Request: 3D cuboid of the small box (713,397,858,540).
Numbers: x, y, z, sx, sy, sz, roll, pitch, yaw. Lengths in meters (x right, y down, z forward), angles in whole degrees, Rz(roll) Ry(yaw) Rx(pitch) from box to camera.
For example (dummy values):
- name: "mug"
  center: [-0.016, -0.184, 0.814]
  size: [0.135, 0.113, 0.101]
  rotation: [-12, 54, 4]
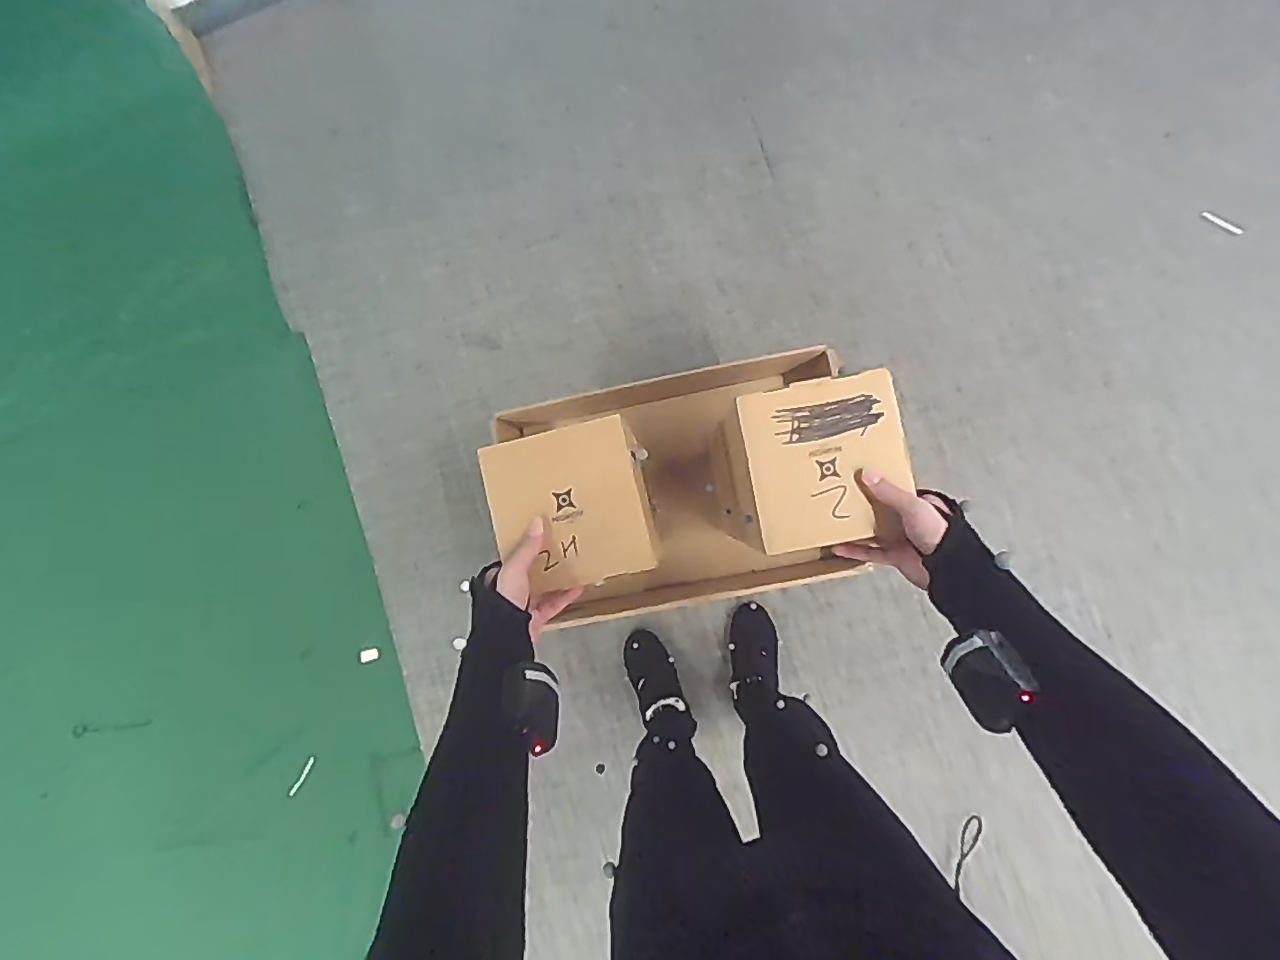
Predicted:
- name: "small box"
  center: [0.206, -0.012, 0.812]
  size: [0.168, 0.176, 0.179]
  rotation: [-10, 85, 4]

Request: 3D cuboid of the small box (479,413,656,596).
- name: "small box"
  center: [-0.079, 0.031, 0.675]
  size: [0.168, 0.176, 0.179]
  rotation: [-14, 86, 4]
